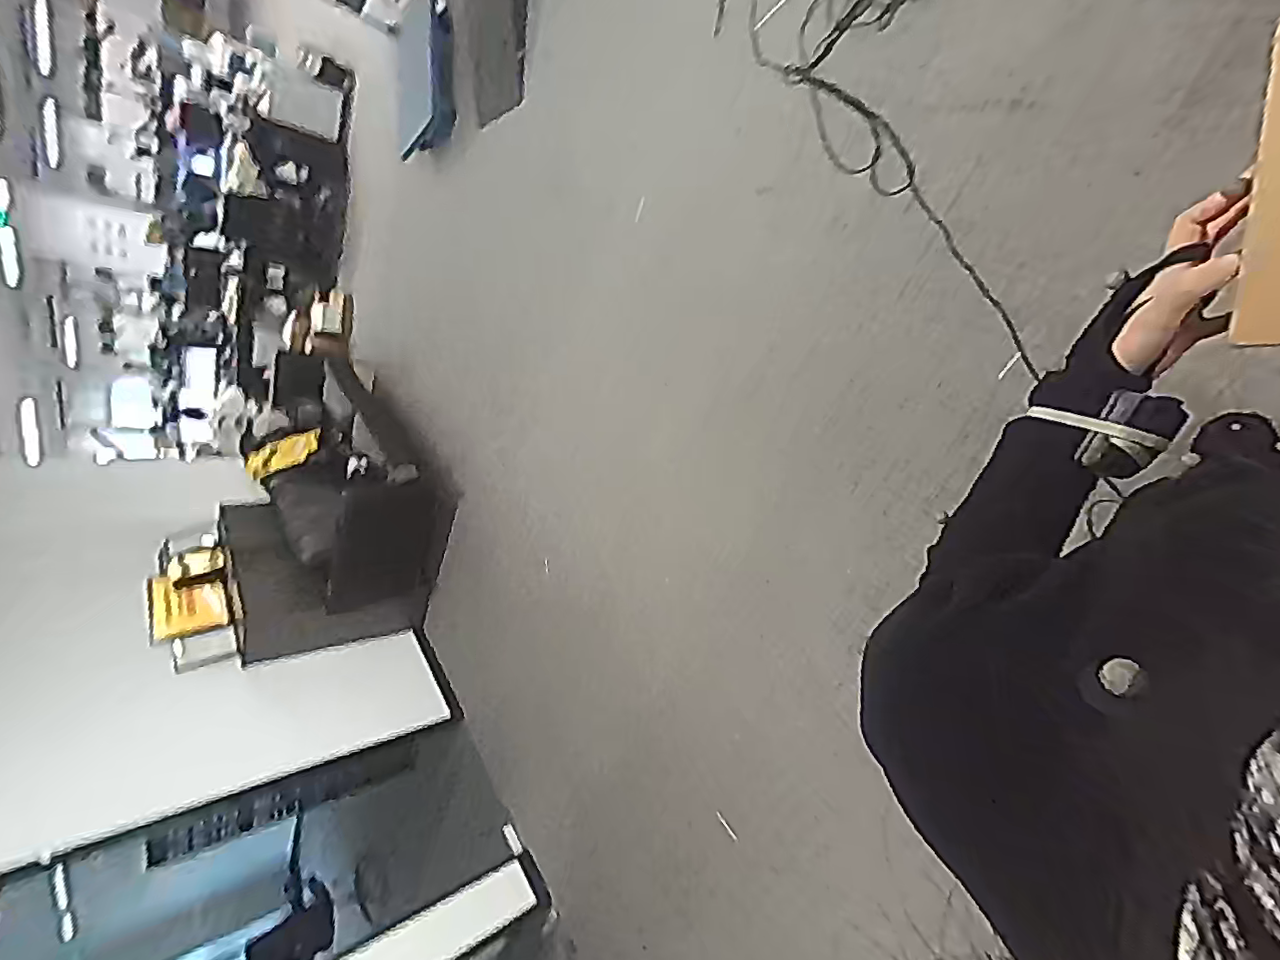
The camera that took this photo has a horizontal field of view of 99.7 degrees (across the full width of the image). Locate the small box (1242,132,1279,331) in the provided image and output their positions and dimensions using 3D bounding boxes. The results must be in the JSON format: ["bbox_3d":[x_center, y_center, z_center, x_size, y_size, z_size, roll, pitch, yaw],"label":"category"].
[{"bbox_3d":[0.470,-0.175,0.294,0.168,0.176,0.179,12,109,50],"label":"small box"}]
